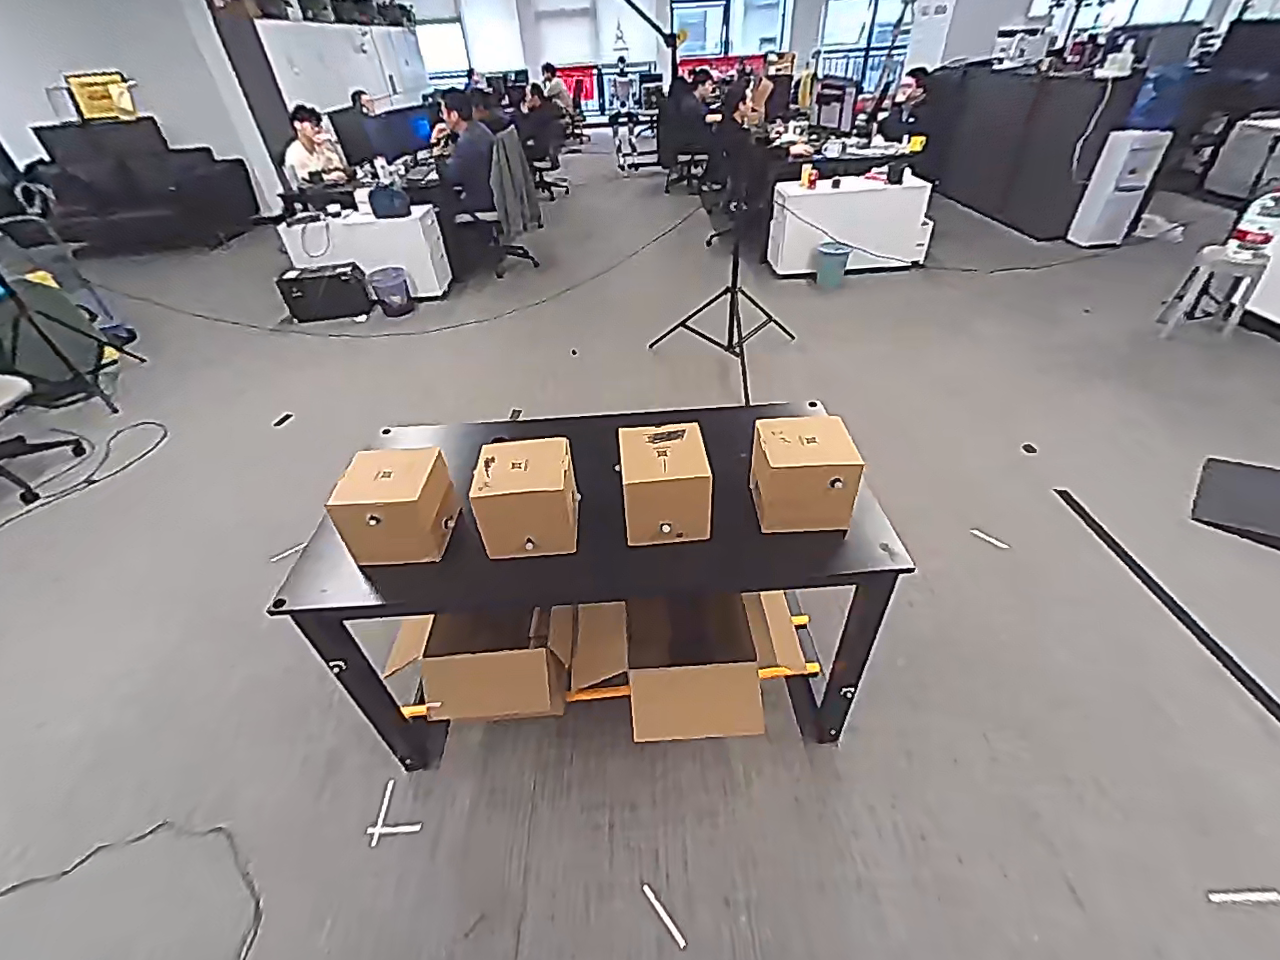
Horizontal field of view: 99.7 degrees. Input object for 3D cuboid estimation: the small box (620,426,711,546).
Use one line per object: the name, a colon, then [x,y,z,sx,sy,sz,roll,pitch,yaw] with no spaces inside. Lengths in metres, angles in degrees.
small box: [0.046,0.011,1.096,0.168,0.176,0.179,-5,39,-1]

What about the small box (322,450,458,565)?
small box: [-0.487,0.057,1.084,0.179,0.176,0.168,-3,40,0]

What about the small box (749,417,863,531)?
small box: [0.325,-0.011,1.096,0.179,0.176,0.168,-3,38,2]

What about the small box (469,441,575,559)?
small box: [-0.224,0.041,1.082,0.179,0.176,0.168,-4,39,-2]
